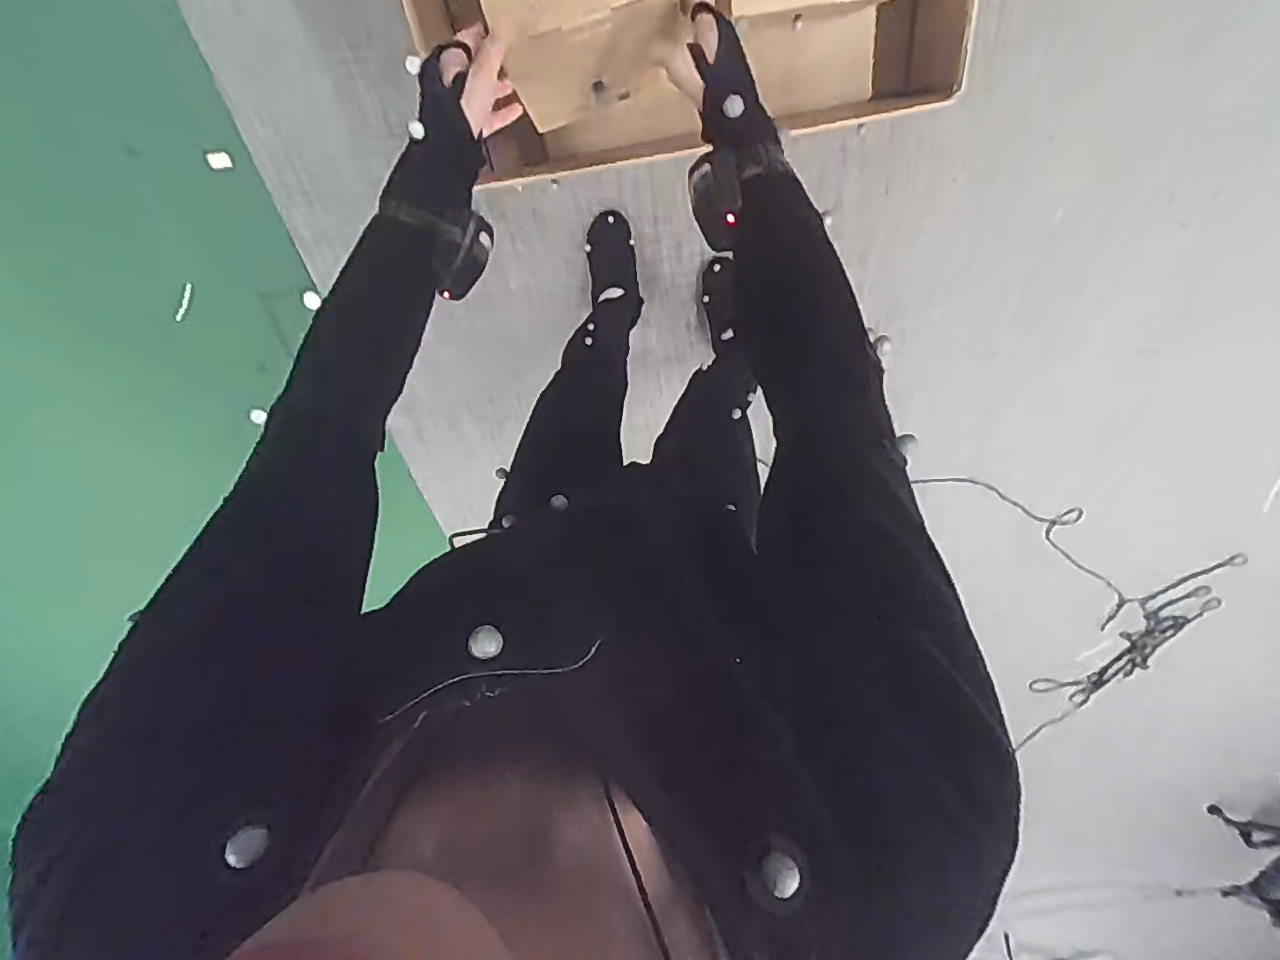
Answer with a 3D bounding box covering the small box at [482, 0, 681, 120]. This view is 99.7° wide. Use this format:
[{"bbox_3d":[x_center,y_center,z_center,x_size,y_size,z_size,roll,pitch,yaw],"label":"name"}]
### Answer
[{"bbox_3d":[-0.063,-0.484,0.504,0.168,0.176,0.179,-14,102,6],"label":"small box"}]
